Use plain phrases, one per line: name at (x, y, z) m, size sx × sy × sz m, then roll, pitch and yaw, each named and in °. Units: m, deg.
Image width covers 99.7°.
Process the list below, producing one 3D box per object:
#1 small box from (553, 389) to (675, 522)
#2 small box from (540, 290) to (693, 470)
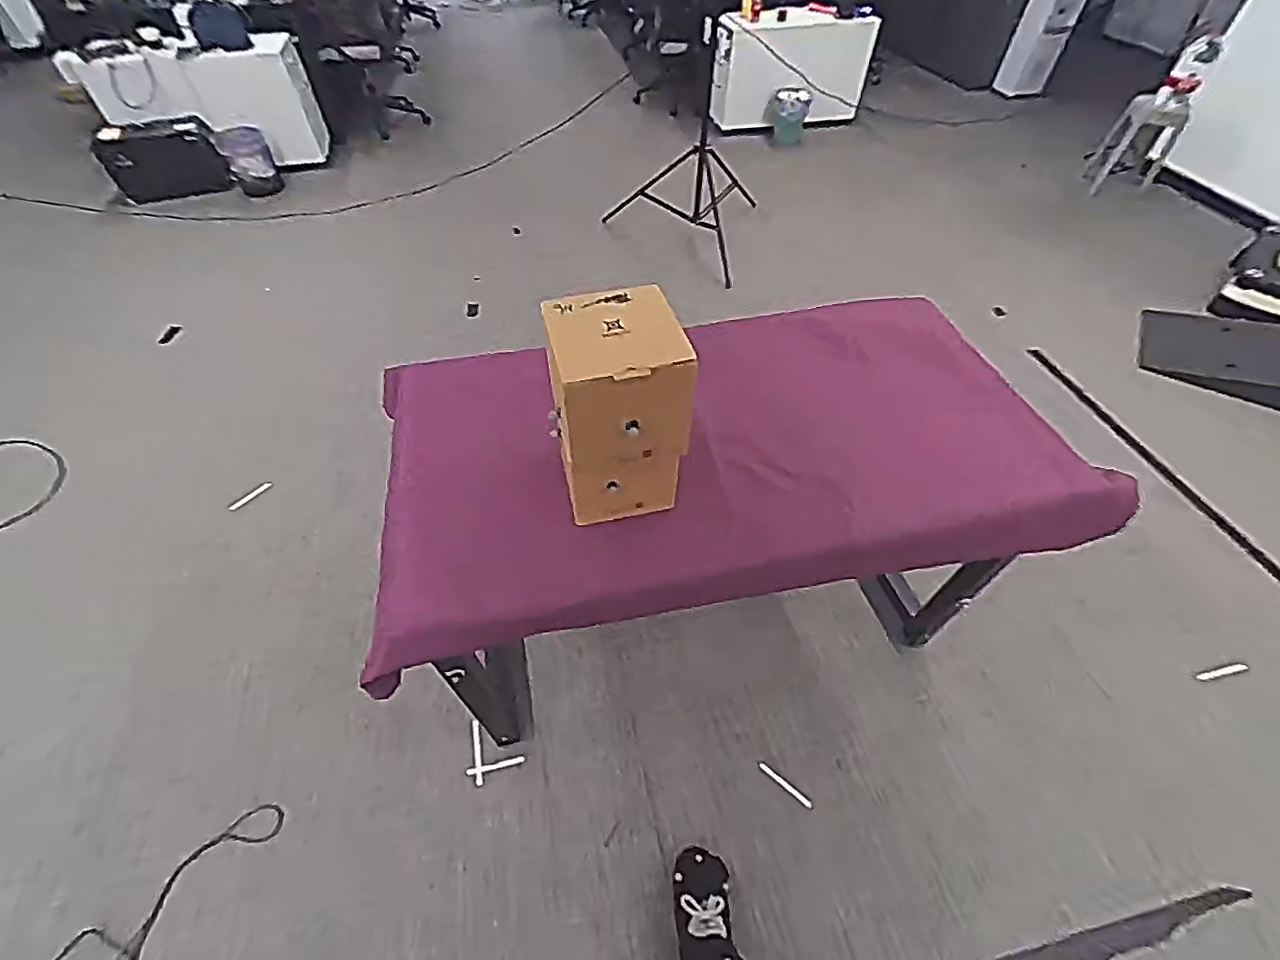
small box at (-0.041, -0.047, 0.886) m, size 0.168 × 0.176 × 0.179 m, roll -11°, pitch 52°, yaw -9°
small box at (-0.033, -0.130, 0.742) m, size 0.168 × 0.176 × 0.179 m, roll -12°, pitch 53°, yaw -10°
